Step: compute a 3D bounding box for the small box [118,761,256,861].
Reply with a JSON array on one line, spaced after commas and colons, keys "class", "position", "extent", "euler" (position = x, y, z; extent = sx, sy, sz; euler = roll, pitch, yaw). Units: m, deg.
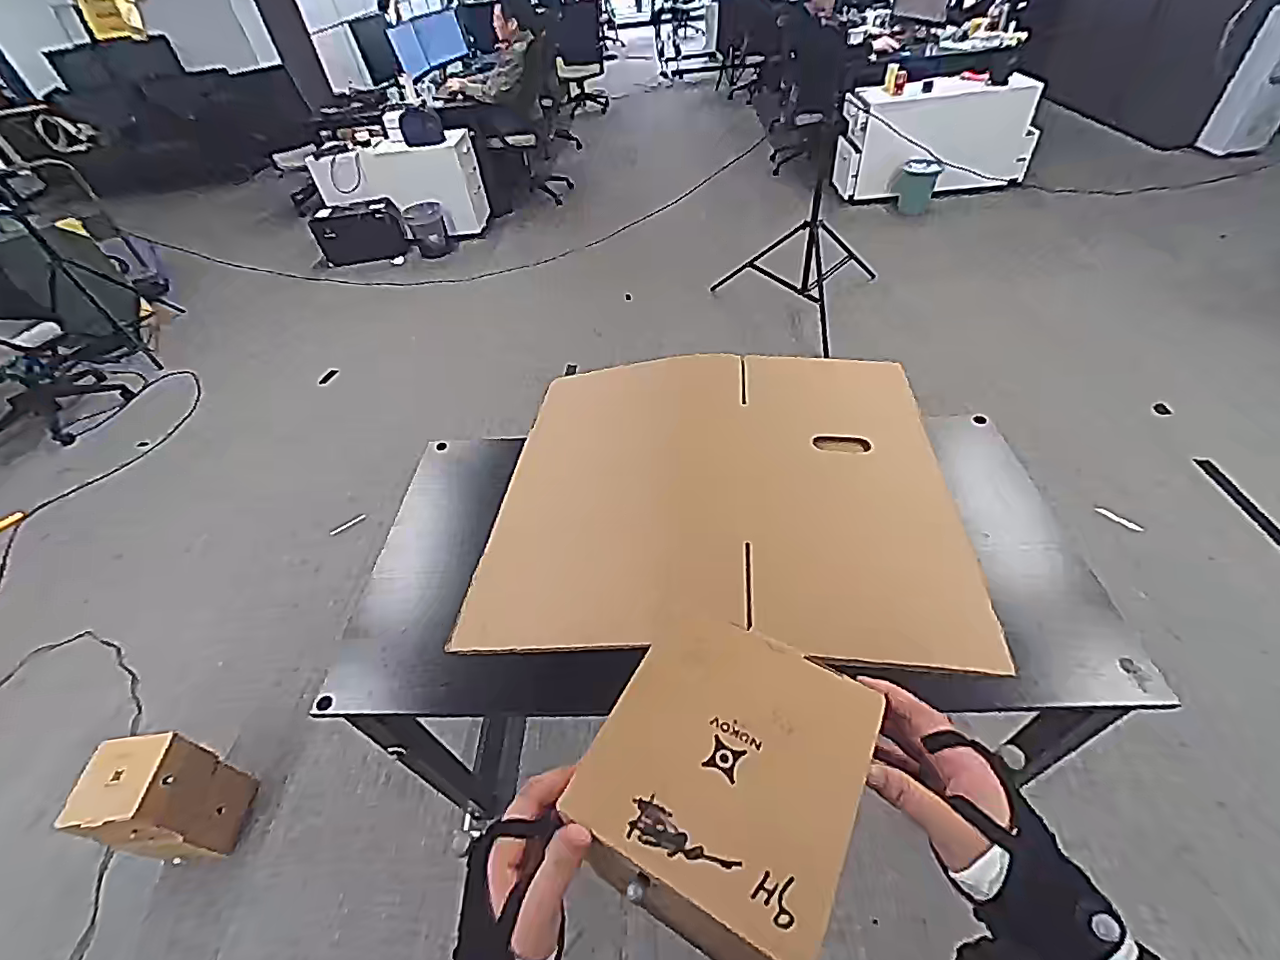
[{"class": "small box", "position": [-1.097, 0.818, 1.333], "extent": [0.168, 0.176, 0.179], "euler": [-6, 46, 2]}]

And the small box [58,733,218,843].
[{"class": "small box", "position": [-1.113, 0.701, 1.222], "extent": [0.168, 0.176, 0.179], "euler": [-7, 44, -1]}]
